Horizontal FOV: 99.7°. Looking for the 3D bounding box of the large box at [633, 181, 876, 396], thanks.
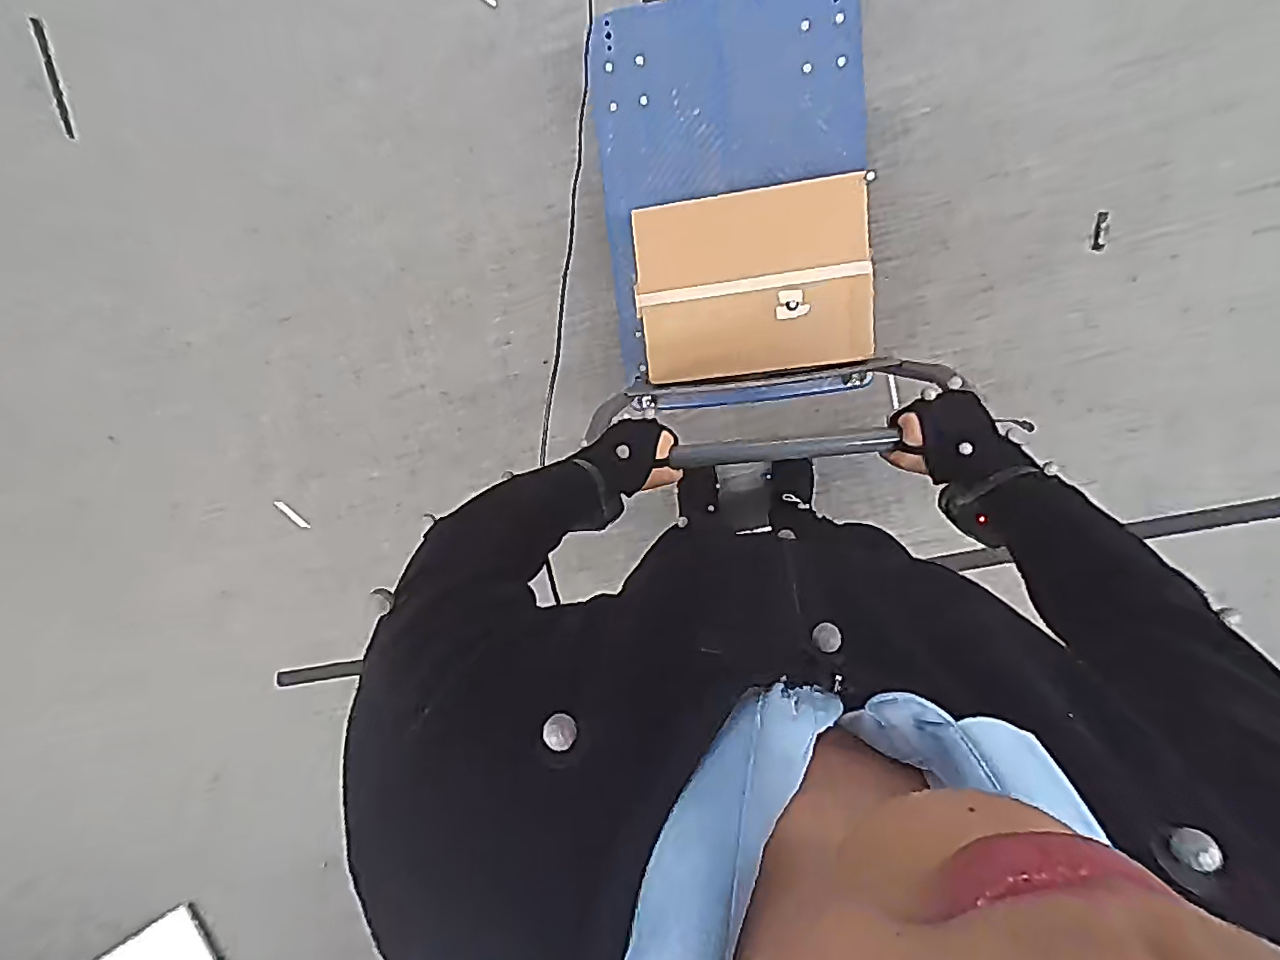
[{"bbox_3d":[0.219,-0.353,1.099,0.408,0.320,0.320,-6,100,9],"label":"large box"}]
